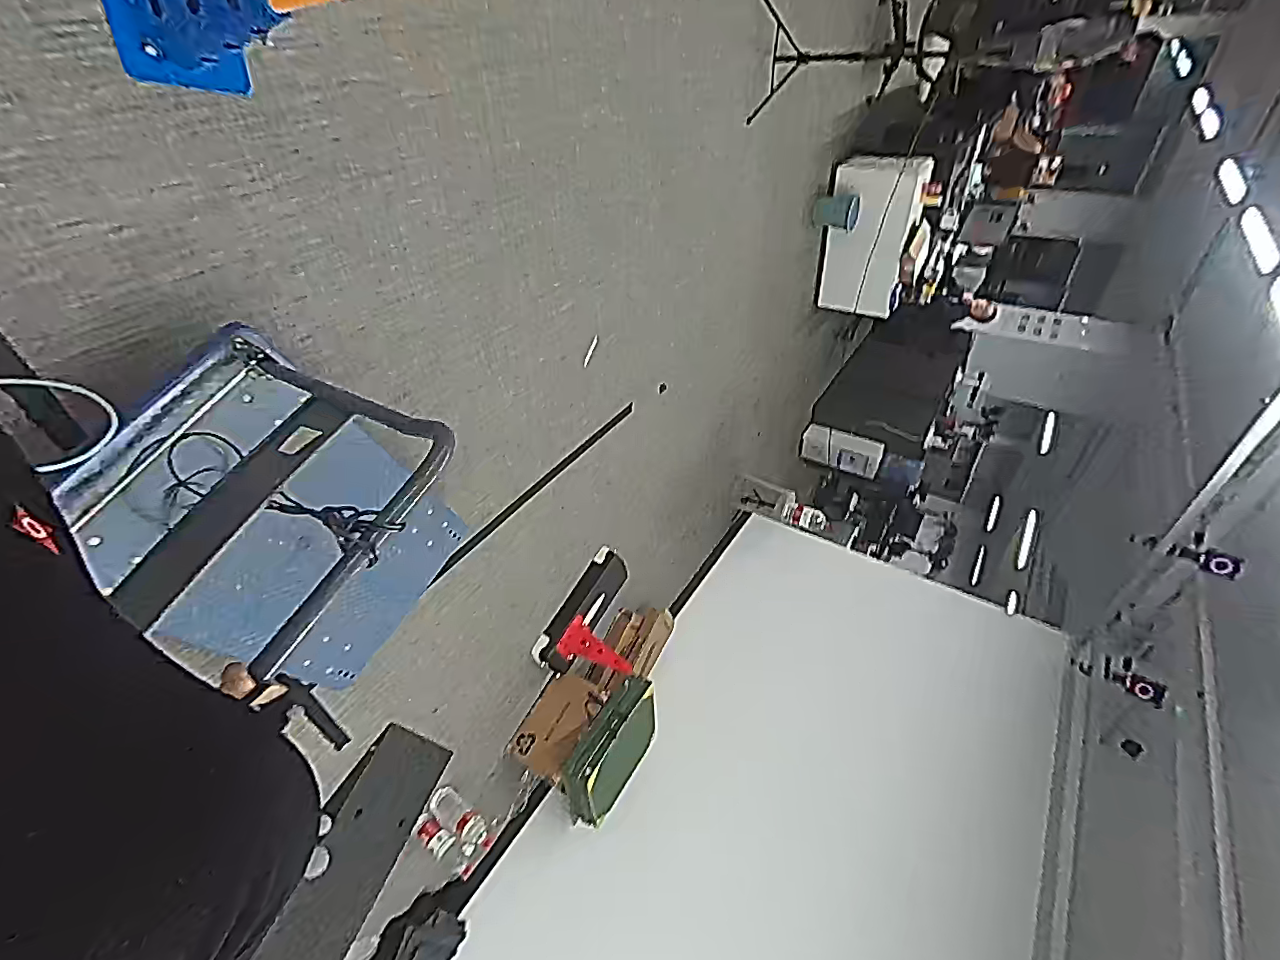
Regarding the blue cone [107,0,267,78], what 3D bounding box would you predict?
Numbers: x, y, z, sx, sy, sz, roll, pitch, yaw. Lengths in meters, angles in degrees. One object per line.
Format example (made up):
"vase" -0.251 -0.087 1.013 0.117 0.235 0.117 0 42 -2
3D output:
"blue cone" -0.680 -0.771 0.860 0.193 0.380 0.192 -31 134 -49
